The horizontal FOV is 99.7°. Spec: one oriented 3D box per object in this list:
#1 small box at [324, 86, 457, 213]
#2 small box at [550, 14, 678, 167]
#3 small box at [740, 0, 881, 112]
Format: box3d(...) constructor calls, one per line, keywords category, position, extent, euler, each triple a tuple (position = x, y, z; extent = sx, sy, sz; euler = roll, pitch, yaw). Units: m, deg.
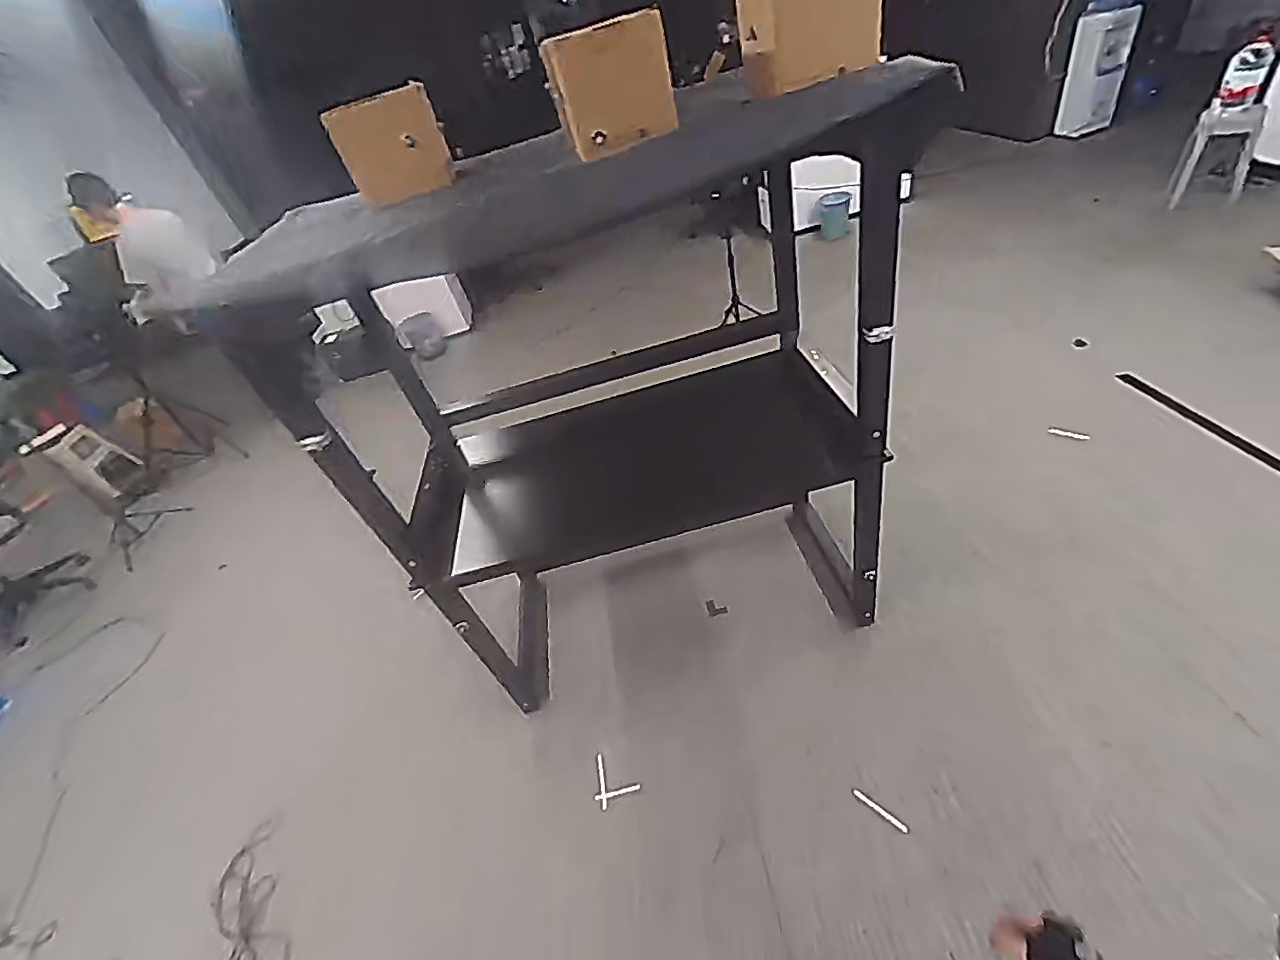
box3d(category="small box", position=(-0.487, -0.664, 1.087), extent=(0.179, 0.176, 0.168), euler=(-17, 40, 0))
box3d(category="small box", position=(-0.043, -0.648, 0.910), extent=(0.168, 0.176, 0.179), euler=(-17, 39, 1))
box3d(category="small box", position=(0.268, -0.714, 0.871), extent=(0.168, 0.176, 0.179), euler=(-17, 39, 2))
